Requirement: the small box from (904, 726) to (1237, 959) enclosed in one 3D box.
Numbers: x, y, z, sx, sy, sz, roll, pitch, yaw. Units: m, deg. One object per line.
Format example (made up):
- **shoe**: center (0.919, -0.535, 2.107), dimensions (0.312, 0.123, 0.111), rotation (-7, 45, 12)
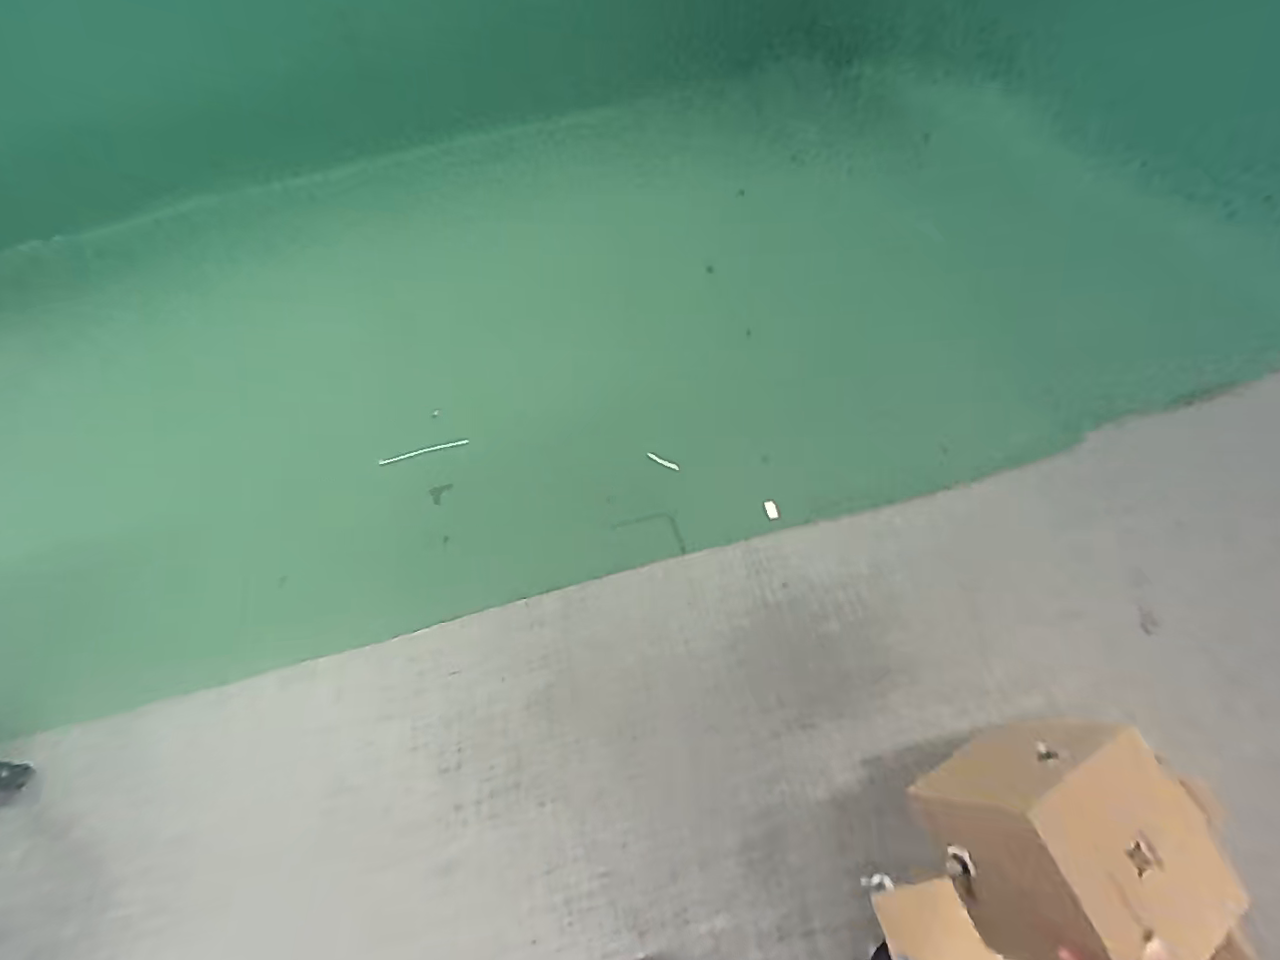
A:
- **small box**: center (0.419, 0.369, 0.554), dimensions (0.179, 0.176, 0.168), rotation (-18, 72, -22)
